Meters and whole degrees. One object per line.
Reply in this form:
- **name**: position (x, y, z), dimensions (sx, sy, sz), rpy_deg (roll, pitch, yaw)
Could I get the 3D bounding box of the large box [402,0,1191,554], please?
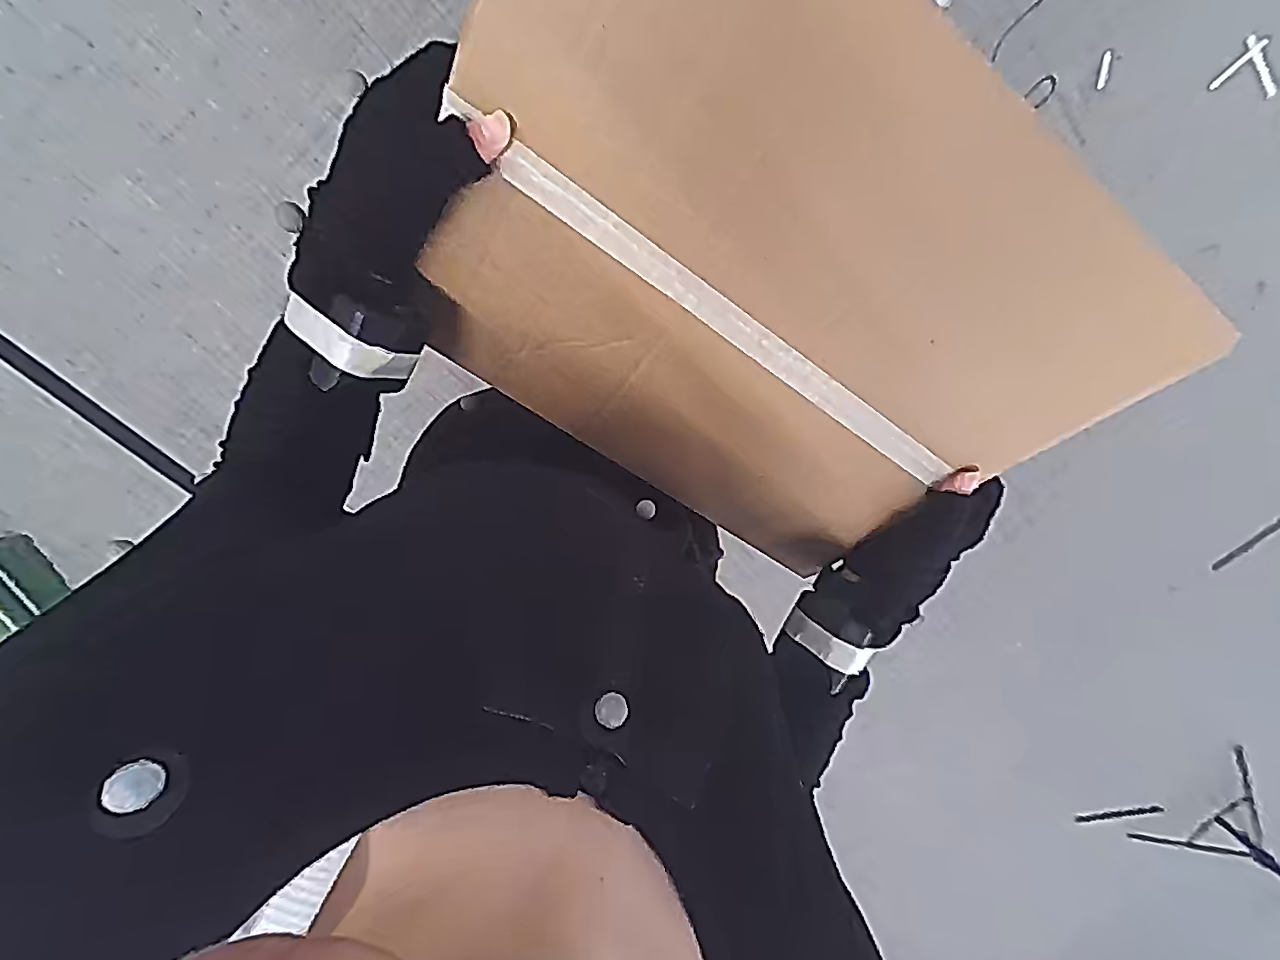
- **large box**: position (0.095, -0.206, 0.449), dimensions (0.408, 0.320, 0.320), rpy_deg (31, 135, -15)
